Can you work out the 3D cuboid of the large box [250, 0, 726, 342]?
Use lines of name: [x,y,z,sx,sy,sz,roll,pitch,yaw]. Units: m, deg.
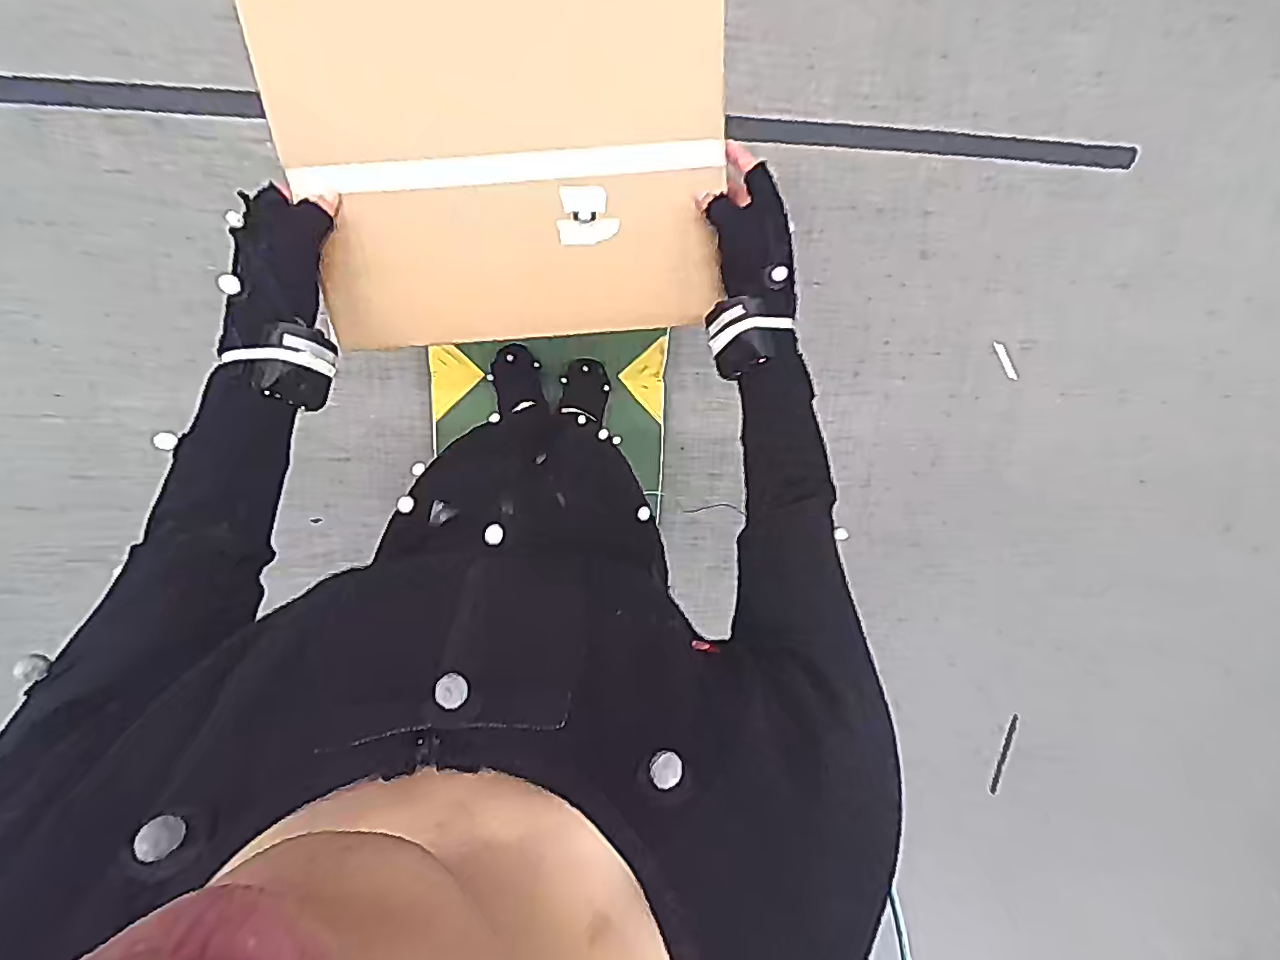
large box: [-0.131,-0.364,0.644,0.408,0.320,0.320,-6,116,-3]
